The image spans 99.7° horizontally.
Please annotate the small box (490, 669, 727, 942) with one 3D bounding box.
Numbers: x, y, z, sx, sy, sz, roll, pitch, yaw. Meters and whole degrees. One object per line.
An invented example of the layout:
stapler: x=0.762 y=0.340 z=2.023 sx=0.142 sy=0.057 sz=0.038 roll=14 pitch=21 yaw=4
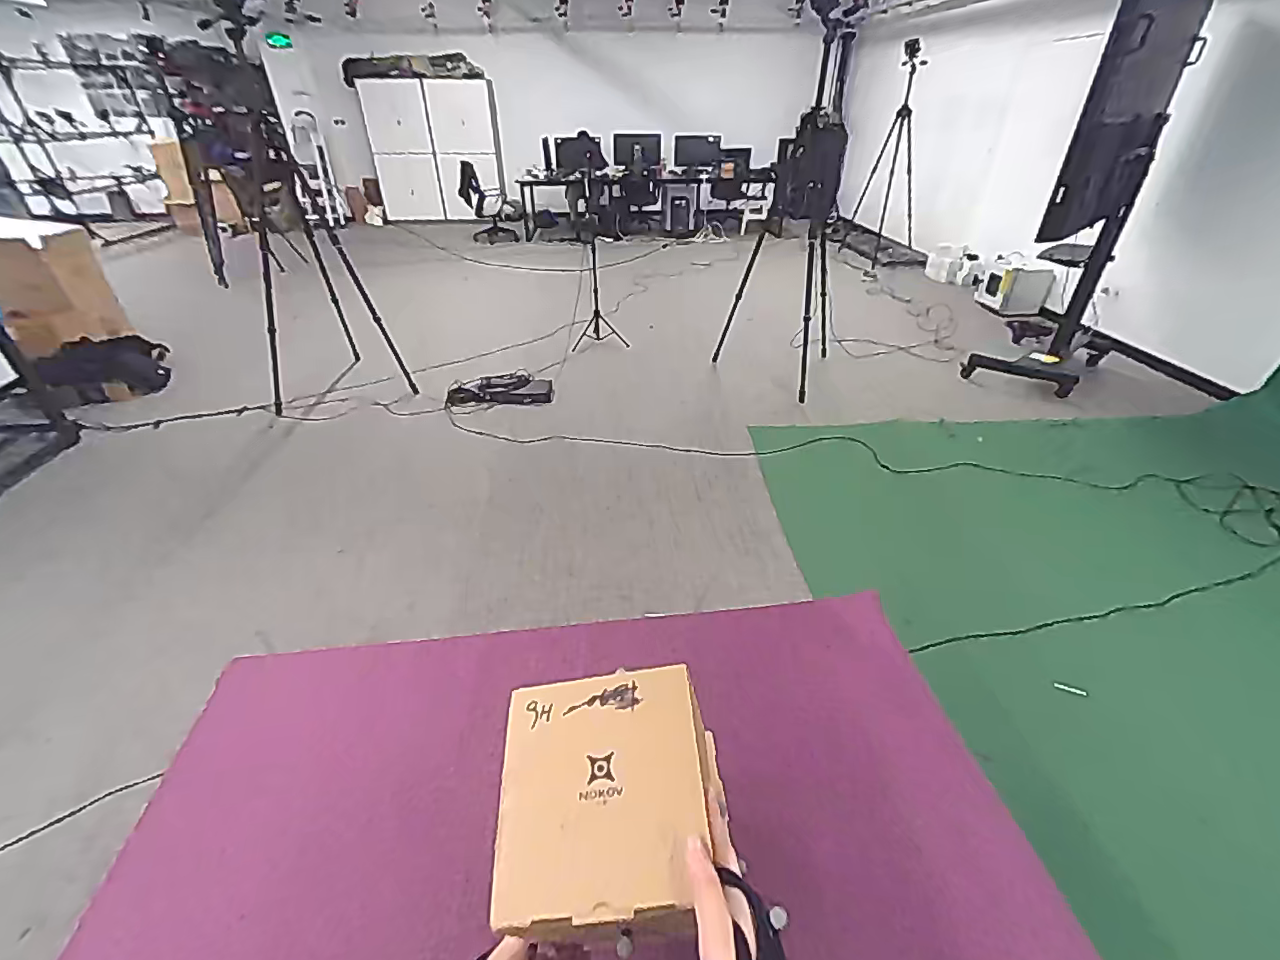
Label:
small box: x=-0.019 y=0.298 z=0.488 sx=0.168 sy=0.176 sz=0.179 roll=-10 pitch=46 yaw=4
